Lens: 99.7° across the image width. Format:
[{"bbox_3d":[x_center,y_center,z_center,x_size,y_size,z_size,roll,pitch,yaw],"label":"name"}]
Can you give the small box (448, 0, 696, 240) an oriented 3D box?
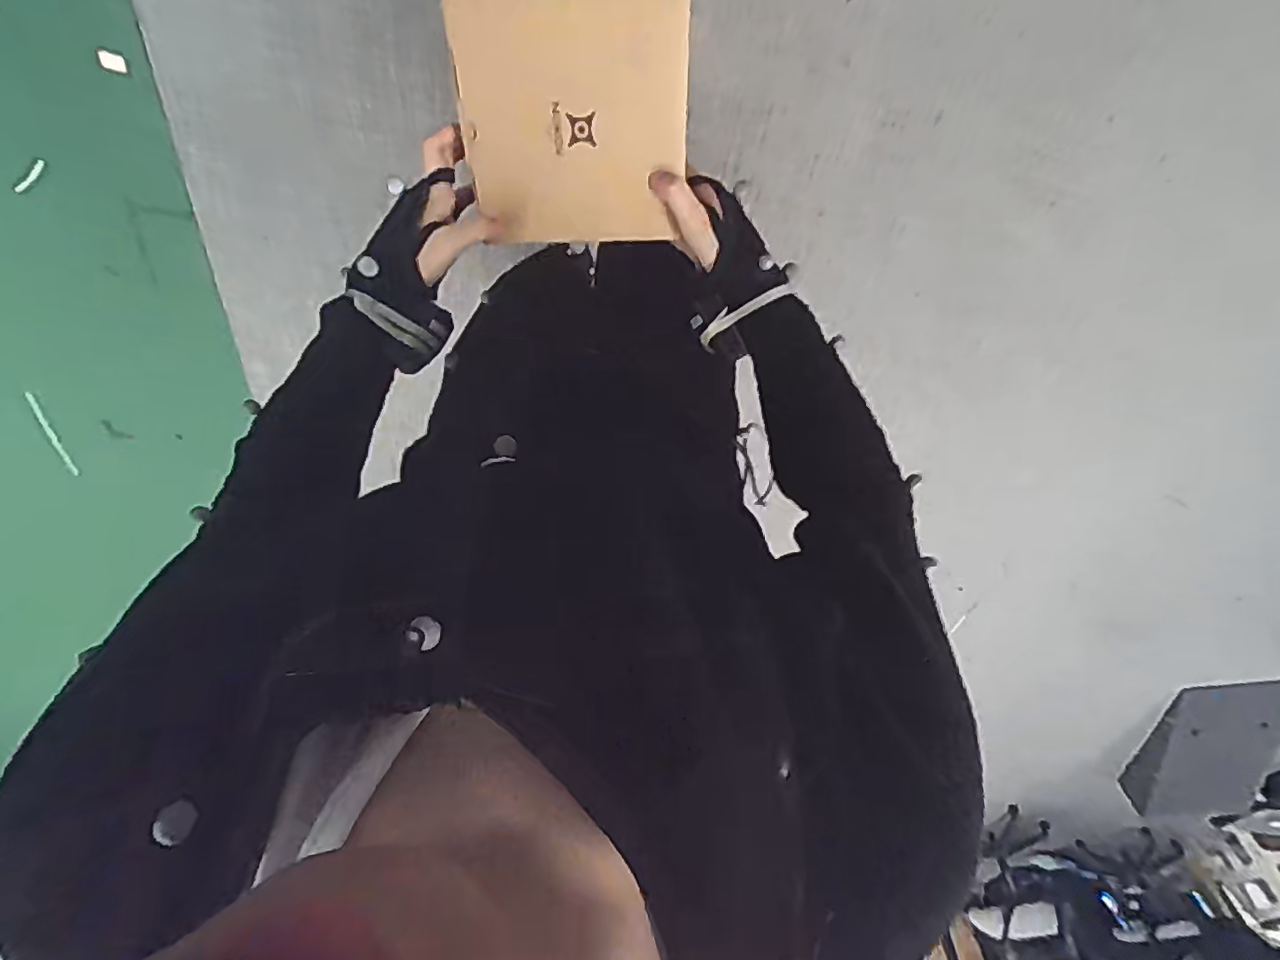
[{"bbox_3d":[-0.049,-0.325,0.485,0.179,0.176,0.168,-1,128,0],"label":"small box"}]
